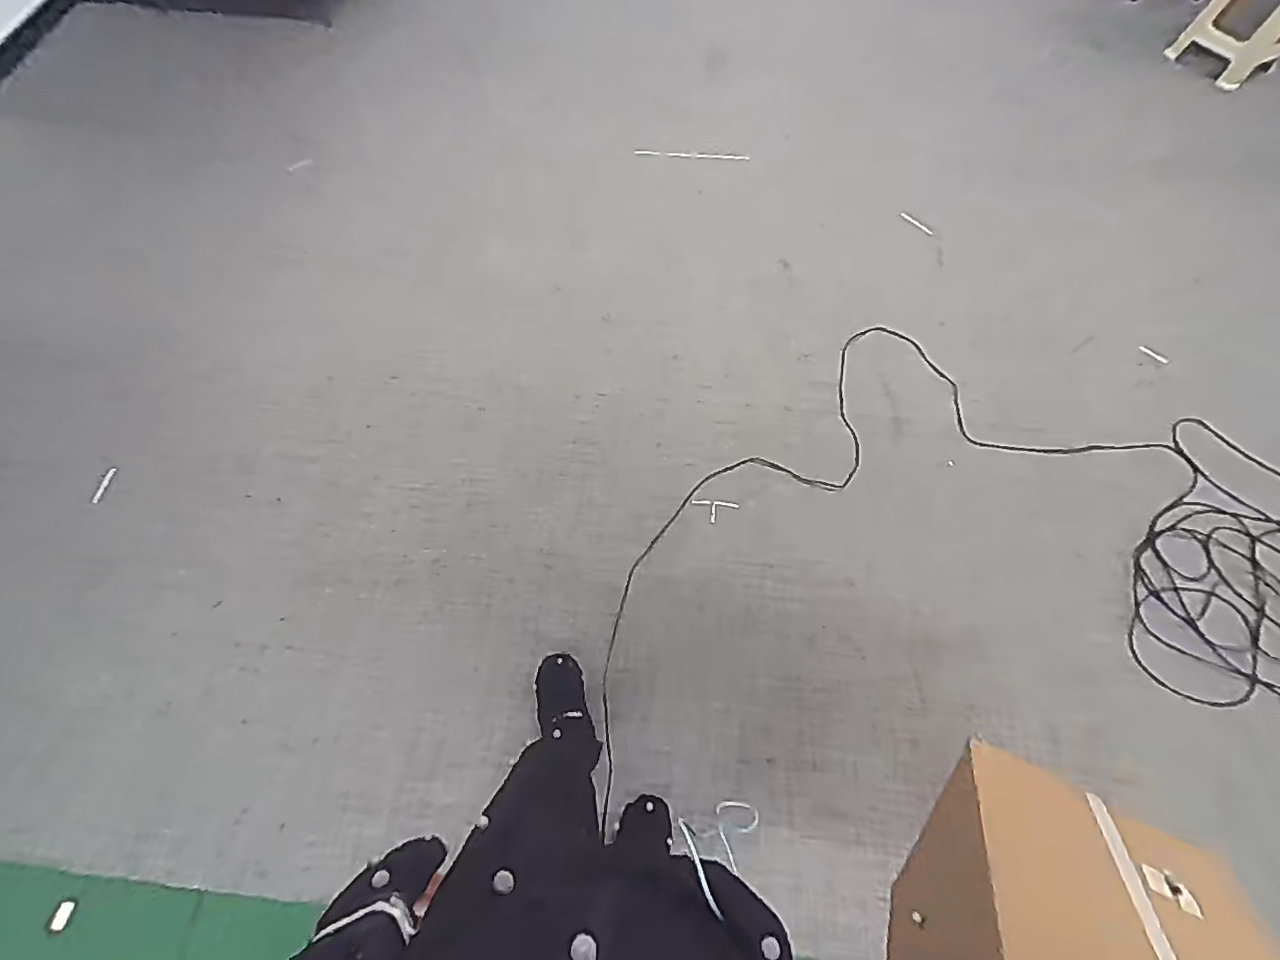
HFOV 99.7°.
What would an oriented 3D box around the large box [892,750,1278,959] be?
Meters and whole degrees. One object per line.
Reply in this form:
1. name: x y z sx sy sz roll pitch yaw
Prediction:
1. large box: 0.500 0.621 0.623 0.320 0.408 0.320 23 105 23
